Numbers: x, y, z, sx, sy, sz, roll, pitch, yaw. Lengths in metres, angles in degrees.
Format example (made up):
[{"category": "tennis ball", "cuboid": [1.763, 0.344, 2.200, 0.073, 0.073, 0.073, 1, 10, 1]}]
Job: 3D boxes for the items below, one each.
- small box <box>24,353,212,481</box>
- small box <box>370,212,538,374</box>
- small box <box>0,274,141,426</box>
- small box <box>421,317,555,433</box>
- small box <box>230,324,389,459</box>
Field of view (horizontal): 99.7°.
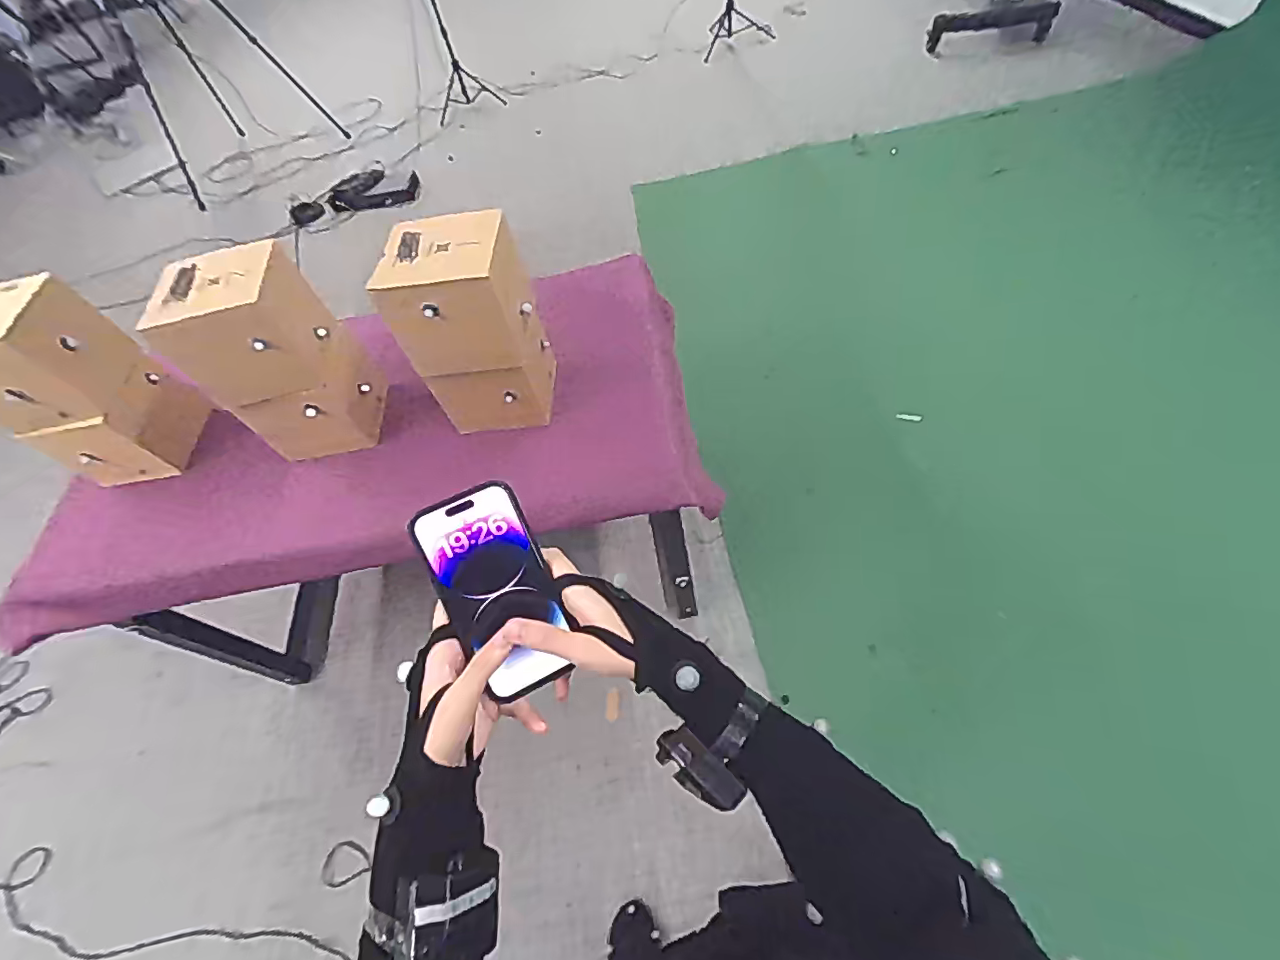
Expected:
[{"category": "small box", "cuboid": [-0.985, -0.112, 1.043, 0.168, 0.176, 0.179, -9, 56, 4]}, {"category": "small box", "cuboid": [-0.274, -0.282, 0.838, 0.179, 0.176, 0.168, -4, 56, 6]}, {"category": "small box", "cuboid": [-1.009, -0.209, 0.912, 0.168, 0.176, 0.179, -13, 56, 0]}, {"category": "small box", "cuboid": [-0.261, -0.203, 0.982, 0.179, 0.176, 0.168, -4, 56, 7]}, {"category": "small box", "cuboid": [-0.598, -0.159, 1.008, 0.179, 0.176, 0.168, -9, 55, 3]}]
